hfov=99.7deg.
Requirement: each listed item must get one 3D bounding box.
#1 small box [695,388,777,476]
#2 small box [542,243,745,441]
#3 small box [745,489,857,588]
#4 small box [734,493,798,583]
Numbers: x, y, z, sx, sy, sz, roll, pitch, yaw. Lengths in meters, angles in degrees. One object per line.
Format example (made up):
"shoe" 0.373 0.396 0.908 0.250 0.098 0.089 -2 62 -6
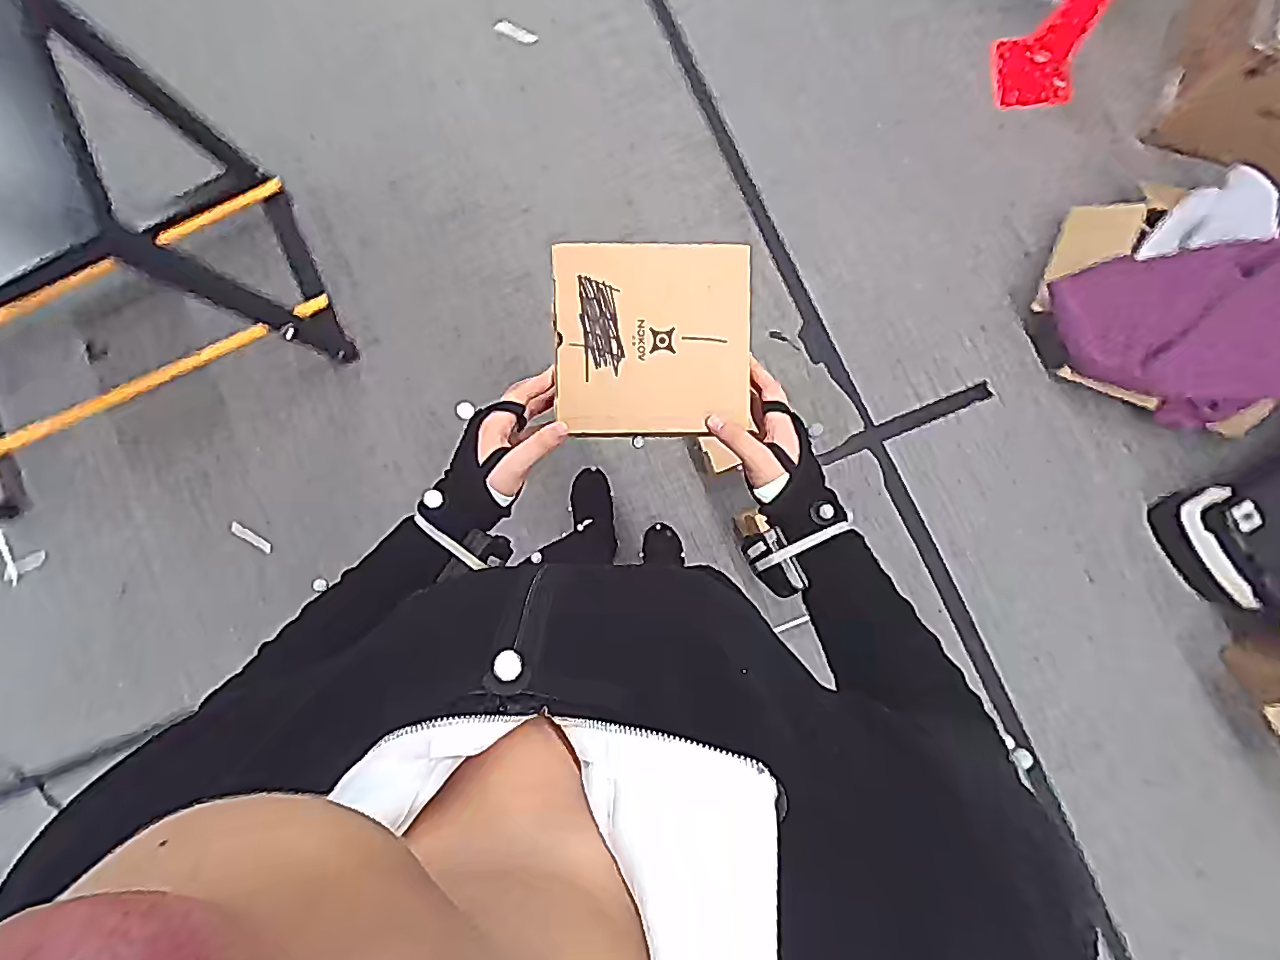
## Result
"small box" 0.236 -0.117 1.409 0.179 0.176 0.168 -21 86 3
"small box" 0.001 -0.125 0.548 0.179 0.176 0.168 -2 94 -3
"small box" 0.356 0.126 1.228 0.179 0.176 0.168 -23 86 3
"small box" 0.356 0.143 1.390 0.168 0.176 0.179 -24 86 1
